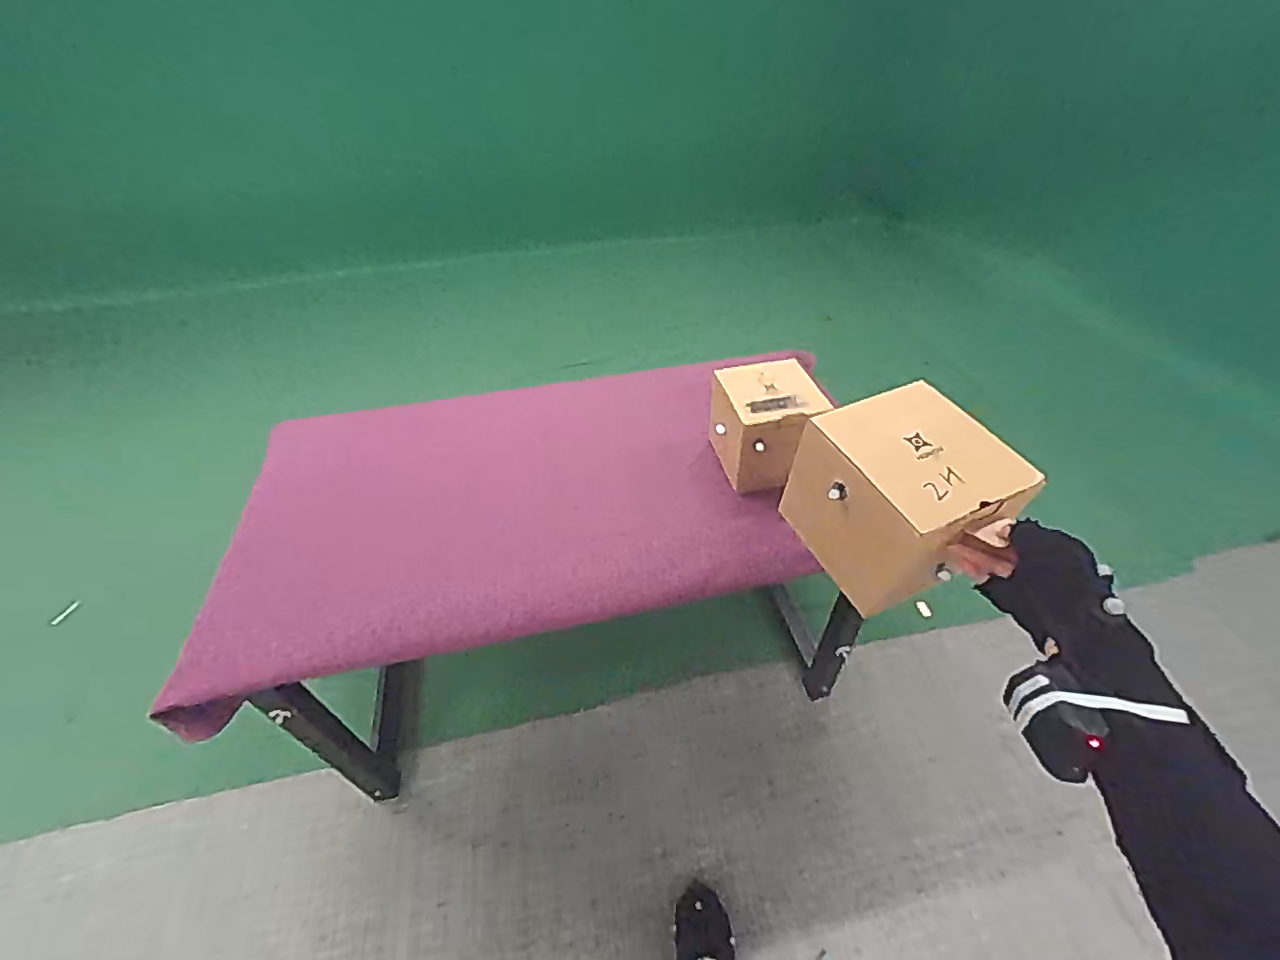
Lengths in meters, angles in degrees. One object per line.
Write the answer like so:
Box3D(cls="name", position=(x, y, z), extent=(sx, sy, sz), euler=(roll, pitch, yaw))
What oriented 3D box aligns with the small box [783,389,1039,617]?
Box3D(cls="small box", position=(0.292, 0.027, 0.630), extent=(0.168, 0.176, 0.179), euler=(-19, 53, -16))
